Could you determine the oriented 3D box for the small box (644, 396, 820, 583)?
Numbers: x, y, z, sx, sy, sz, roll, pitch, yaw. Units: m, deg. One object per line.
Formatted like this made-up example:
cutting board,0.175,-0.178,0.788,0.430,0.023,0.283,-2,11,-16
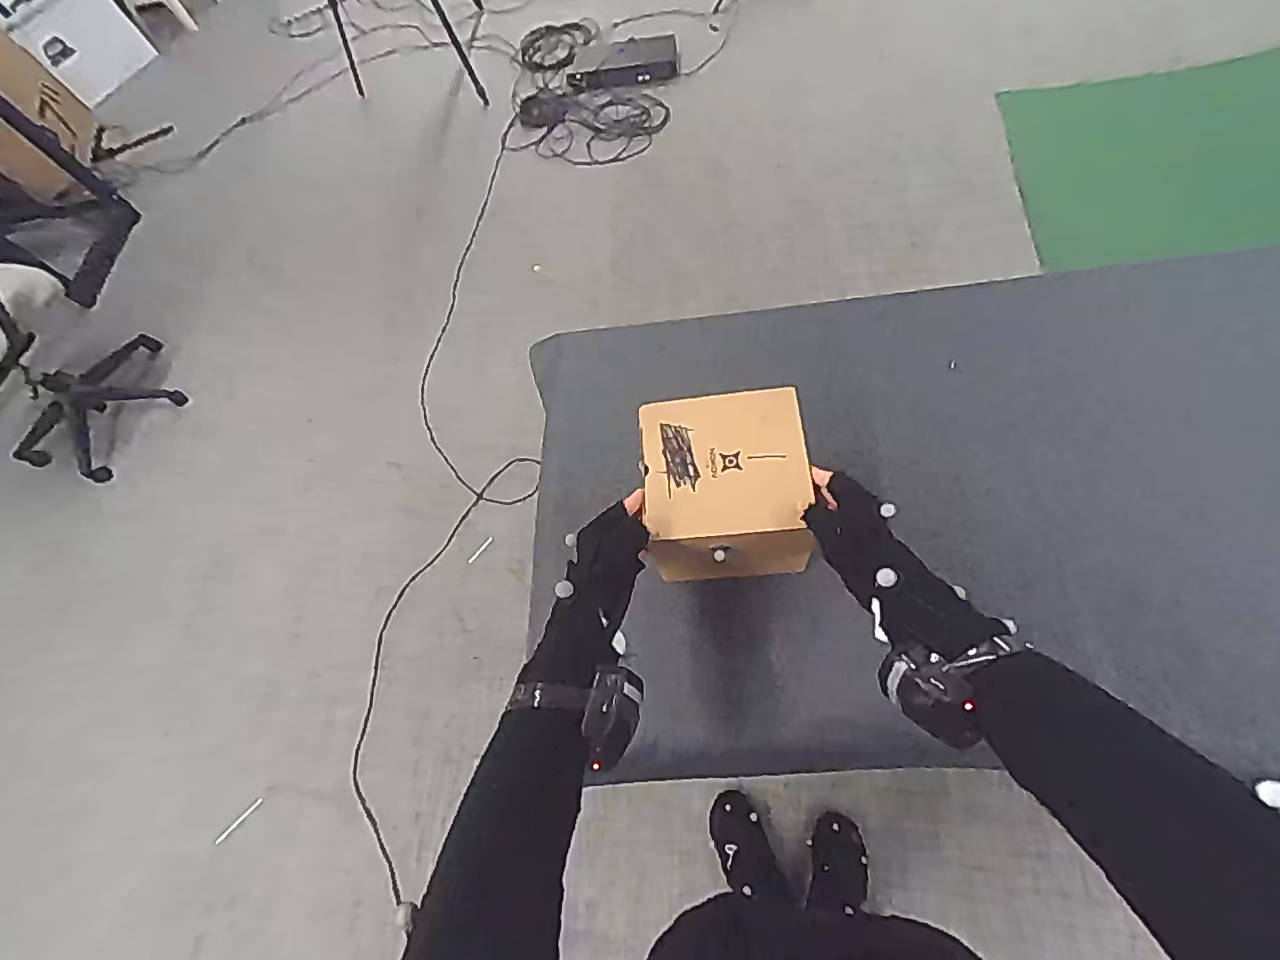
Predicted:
small box,0.105,0.021,0.647,0.179,0.176,0.168,-5,65,8
